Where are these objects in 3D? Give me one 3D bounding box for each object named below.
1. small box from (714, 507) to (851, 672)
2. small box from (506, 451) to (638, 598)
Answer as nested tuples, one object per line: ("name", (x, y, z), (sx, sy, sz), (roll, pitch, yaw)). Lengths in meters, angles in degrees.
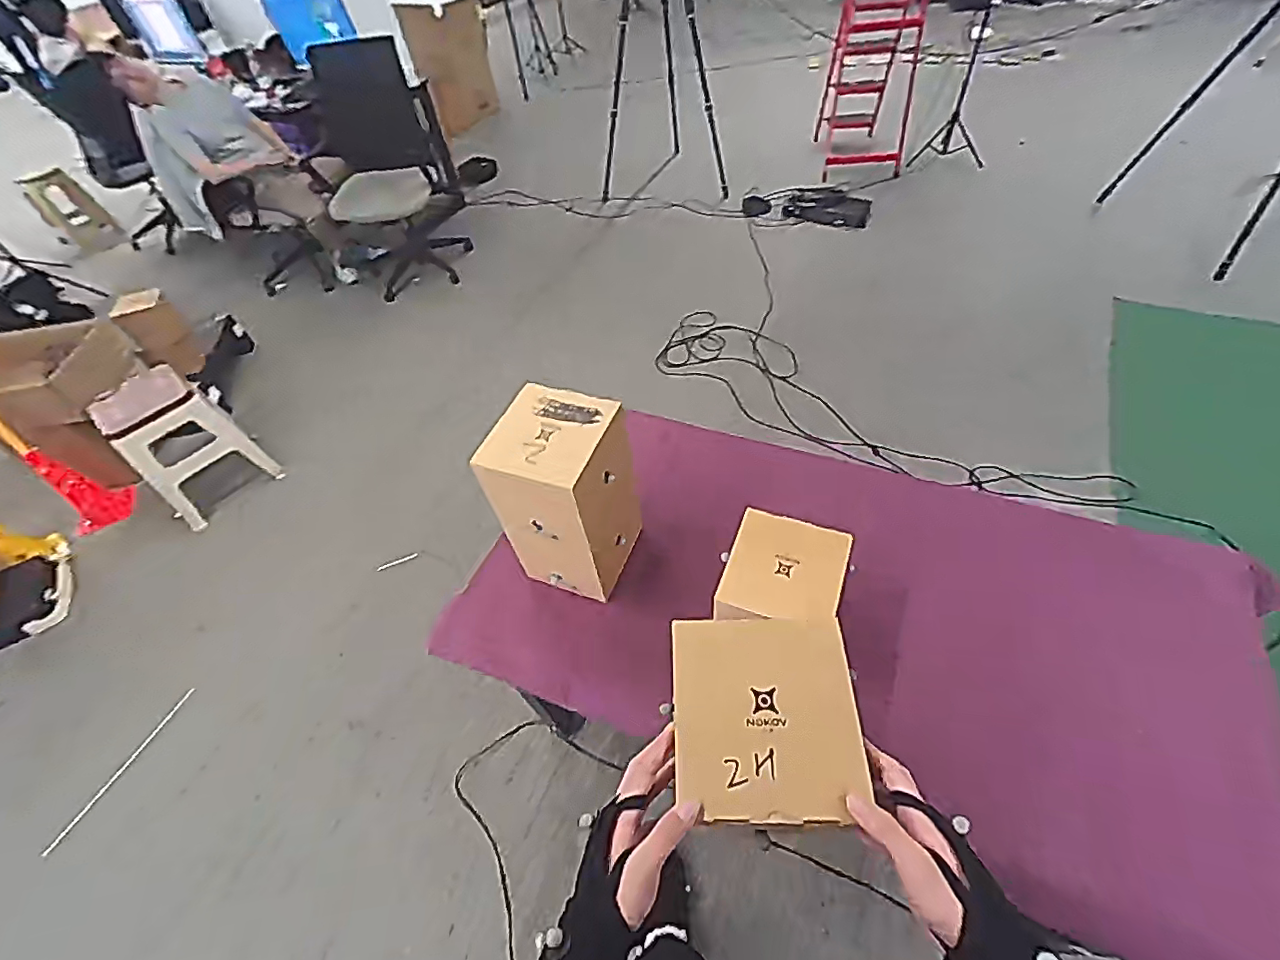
("small box", (0.222, 0.176, 0.855), (0.168, 0.176, 0.179), (15, 53, 18))
("small box", (-0.108, 0.080, 0.966), (0.168, 0.176, 0.179), (15, 55, 17))
